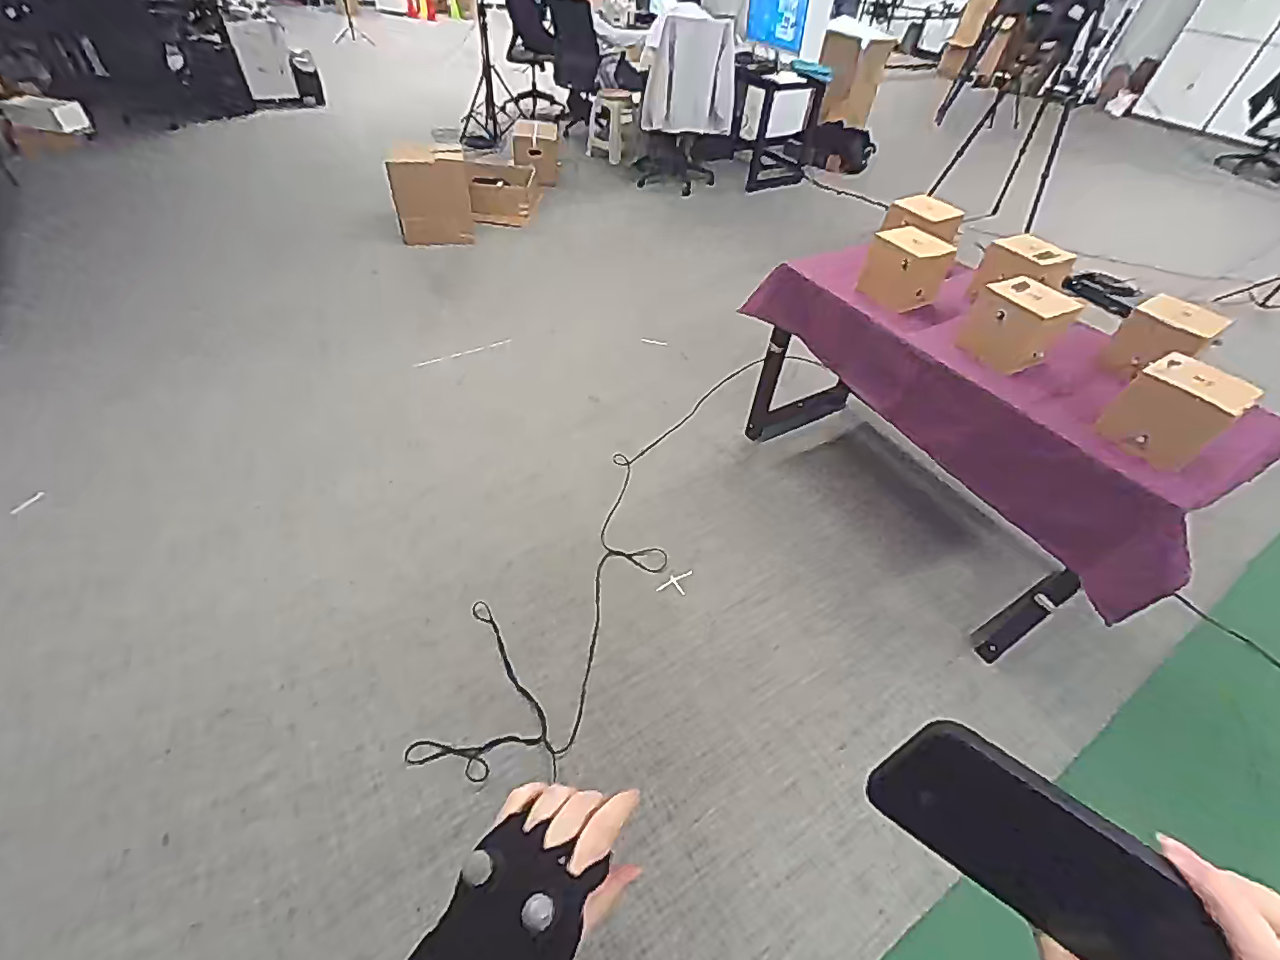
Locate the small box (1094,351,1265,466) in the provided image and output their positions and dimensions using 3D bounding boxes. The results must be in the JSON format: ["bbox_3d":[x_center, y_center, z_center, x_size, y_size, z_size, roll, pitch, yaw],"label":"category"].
[{"bbox_3d":[1.167,-0.150,1.183,0.168,0.176,0.179,-22,53,-25],"label":"small box"}]

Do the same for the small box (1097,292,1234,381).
[{"bbox_3d":[1.344,-0.357,1.396,0.179,0.176,0.168,-24,53,-25],"label":"small box"}]

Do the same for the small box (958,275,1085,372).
[{"bbox_3d":[0.982,-0.408,1.410,0.168,0.176,0.179,-19,52,-22],"label":"small box"}]

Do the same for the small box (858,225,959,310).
[{"bbox_3d":[0.786,-0.630,1.603,0.168,0.176,0.179,-20,53,-23],"label":"small box"}]
